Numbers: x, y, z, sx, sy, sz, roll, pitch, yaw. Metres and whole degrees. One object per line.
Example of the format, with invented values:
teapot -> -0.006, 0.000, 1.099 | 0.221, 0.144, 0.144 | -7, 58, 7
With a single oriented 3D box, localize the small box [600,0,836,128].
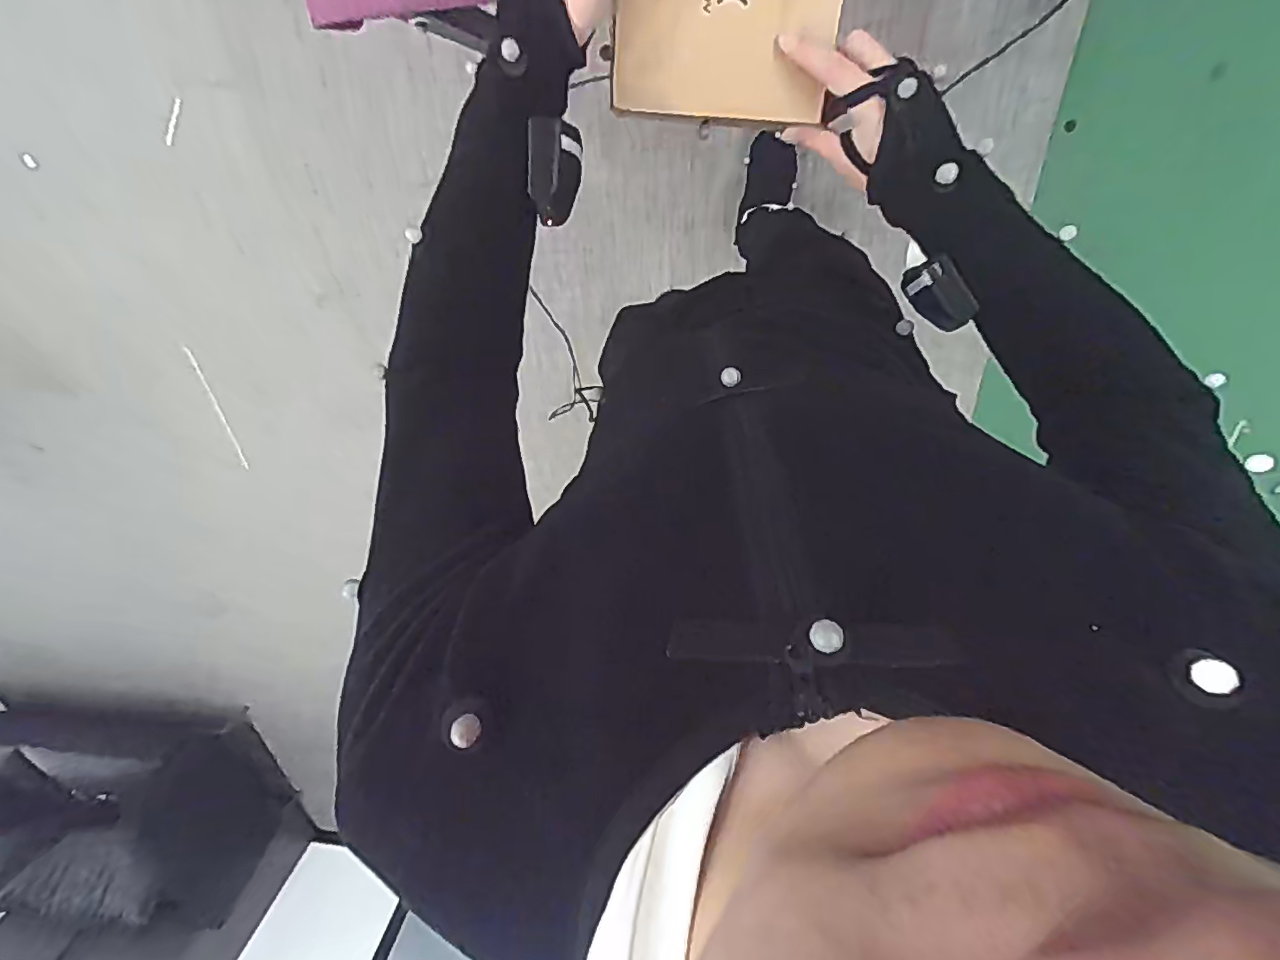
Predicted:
small box -> 0.065, -0.414, 0.470 | 0.179, 0.176, 0.168 | 6, 122, -1

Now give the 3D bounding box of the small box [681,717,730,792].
small box -> 0.244, 1.017, 2.006 | 0.168, 0.176, 0.179 | 4, 121, 10
